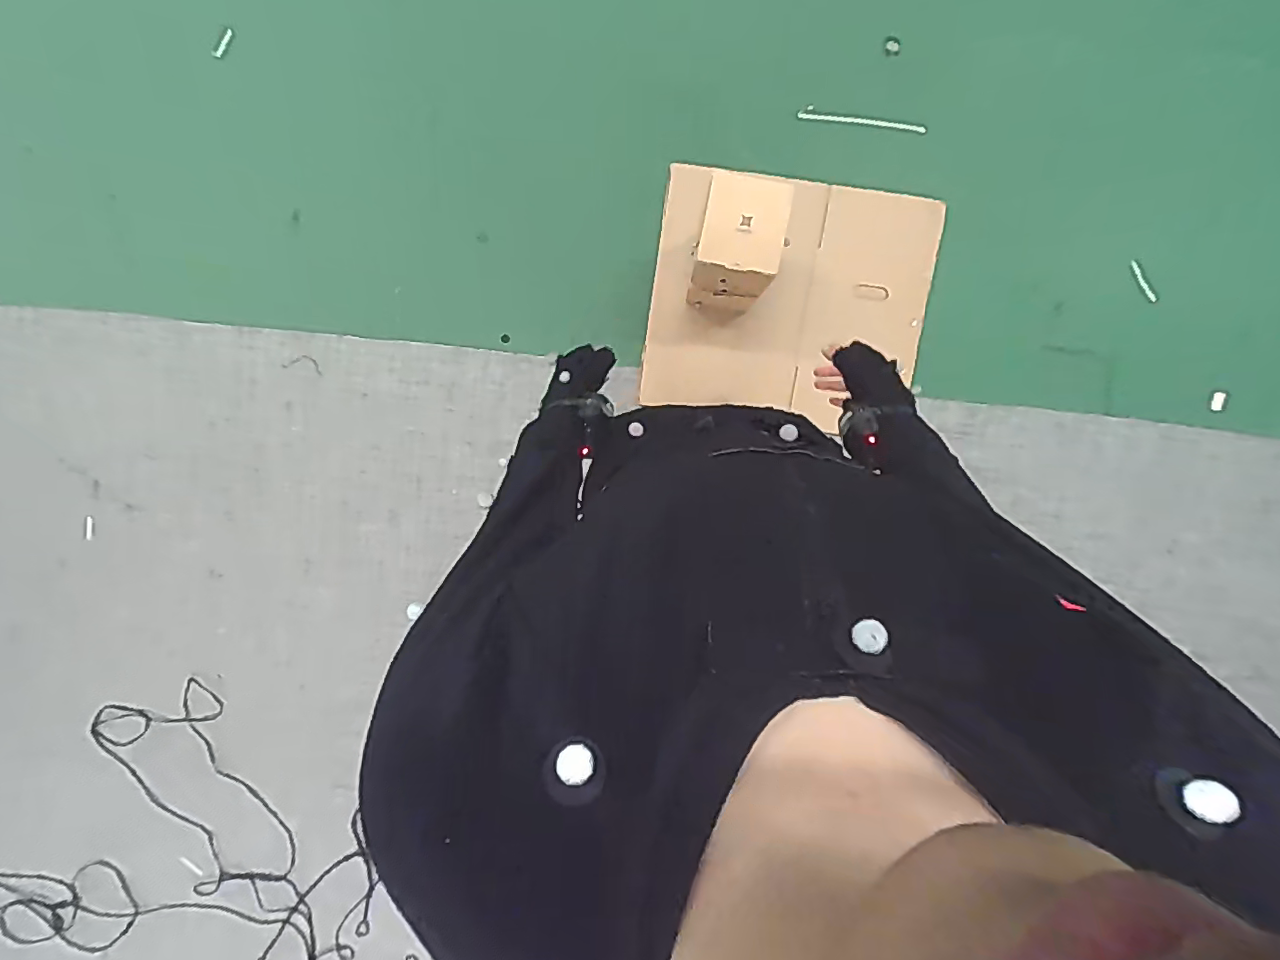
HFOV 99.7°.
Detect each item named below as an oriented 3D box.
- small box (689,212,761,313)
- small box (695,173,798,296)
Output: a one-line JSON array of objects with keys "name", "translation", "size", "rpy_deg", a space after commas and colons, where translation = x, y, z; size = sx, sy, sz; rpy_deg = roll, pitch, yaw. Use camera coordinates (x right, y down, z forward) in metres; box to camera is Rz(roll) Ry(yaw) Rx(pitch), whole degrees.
[{"name": "small box", "translation": [0.213, -0.513, 1.299], "size": [0.168, 0.176, 0.179], "rpy_deg": [10, 96, 2]}, {"name": "small box", "translation": [0.214, -0.505, 1.136], "size": [0.168, 0.176, 0.179], "rpy_deg": [11, 97, 1]}]
